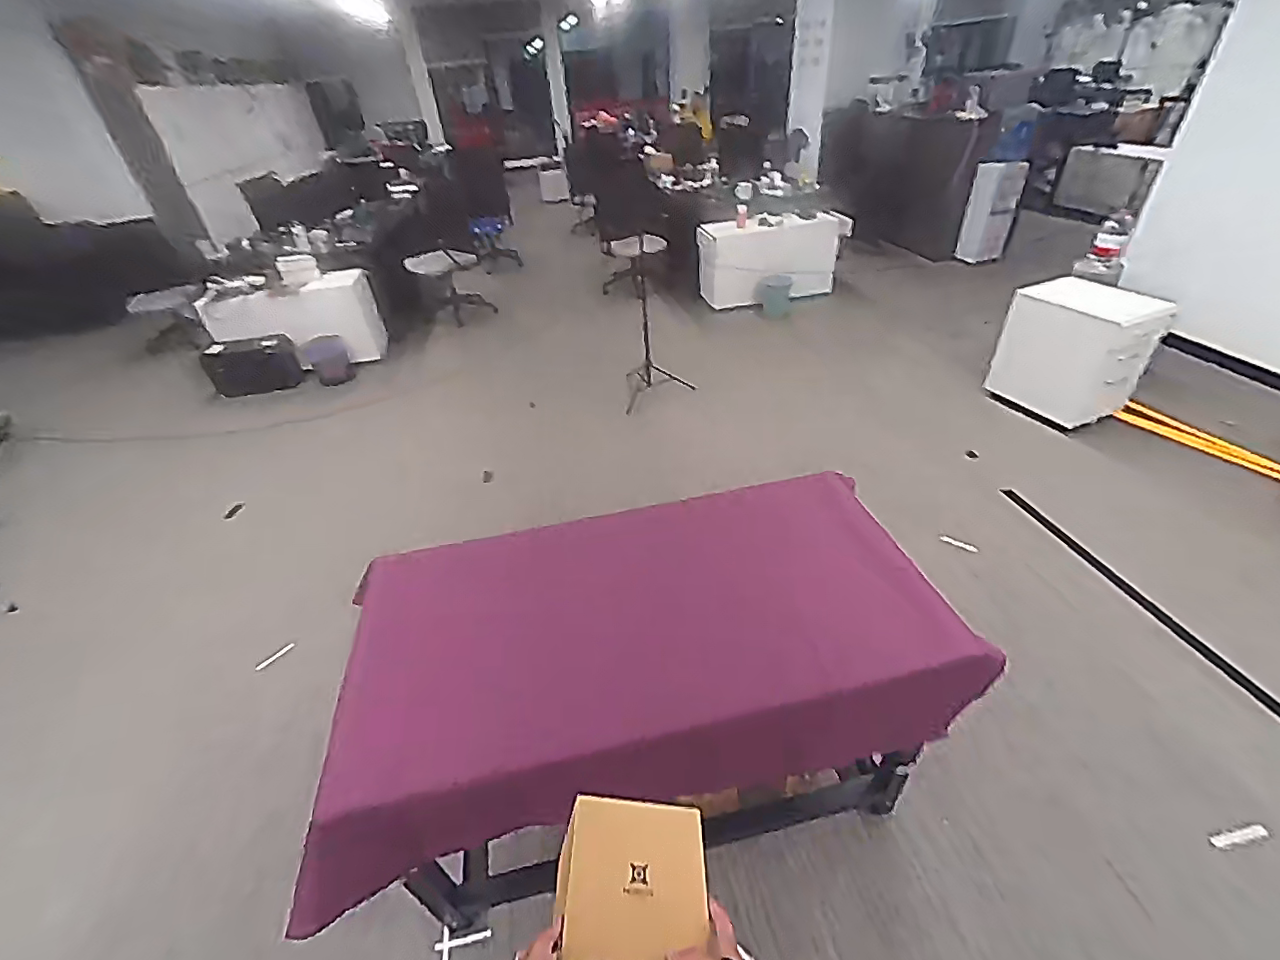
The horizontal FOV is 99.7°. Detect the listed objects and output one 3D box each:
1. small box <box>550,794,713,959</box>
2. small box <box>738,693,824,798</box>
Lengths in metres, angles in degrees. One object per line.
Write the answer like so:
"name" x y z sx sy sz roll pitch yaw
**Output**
"small box" -0.017 0.532 0.672 0.168 0.176 0.179 11 31 -5
"small box" 0.396 0.758 1.541 0.168 0.176 0.179 -30 44 -28
